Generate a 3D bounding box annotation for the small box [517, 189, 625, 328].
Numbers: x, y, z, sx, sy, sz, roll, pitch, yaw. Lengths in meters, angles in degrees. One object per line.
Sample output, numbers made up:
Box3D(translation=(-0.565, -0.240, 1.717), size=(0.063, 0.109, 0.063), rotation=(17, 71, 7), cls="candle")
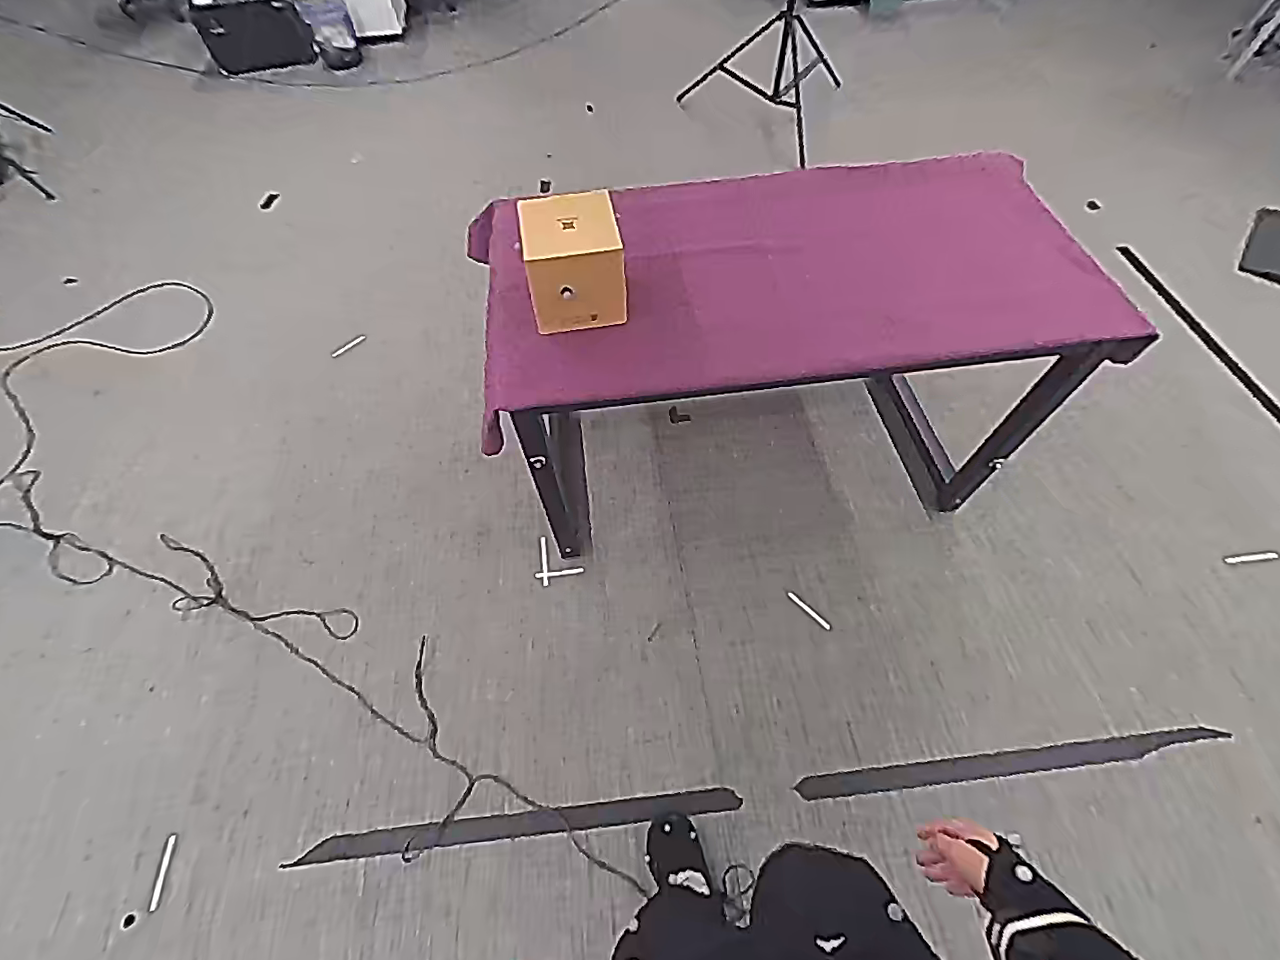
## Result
Box3D(translation=(-0.123, -0.399, 0.999), size=(0.168, 0.176, 0.179), rotation=(-10, 59, -4), cls="small box")
